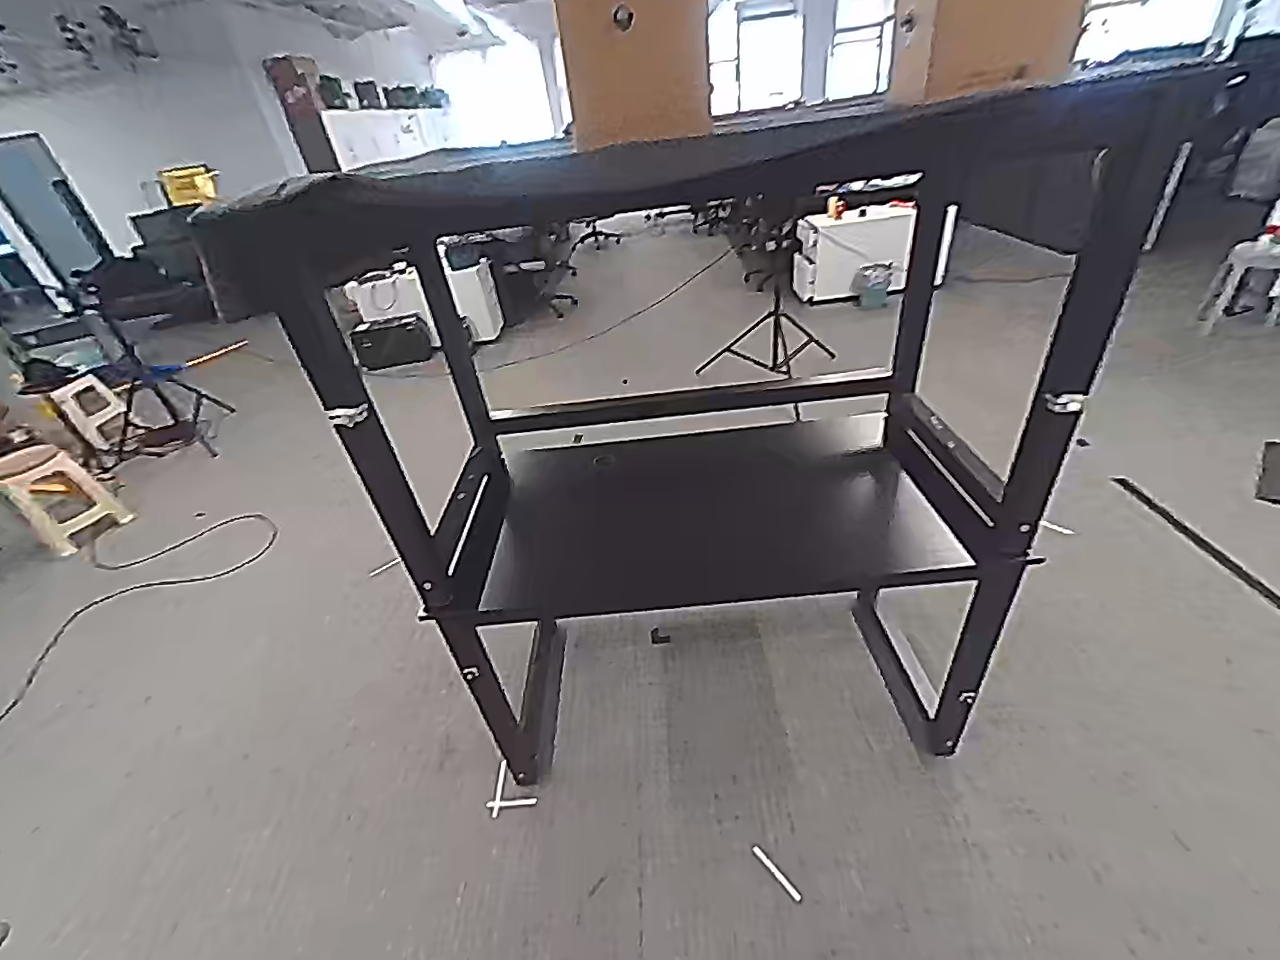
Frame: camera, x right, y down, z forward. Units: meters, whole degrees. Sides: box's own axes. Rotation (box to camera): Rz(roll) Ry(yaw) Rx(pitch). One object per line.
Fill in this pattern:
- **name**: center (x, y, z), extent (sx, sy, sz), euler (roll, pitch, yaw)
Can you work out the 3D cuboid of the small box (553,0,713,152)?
- **small box**: center (-0.007, -0.532, 0.700), extent (0.179, 0.176, 0.168), euler (-7, 33, 1)
